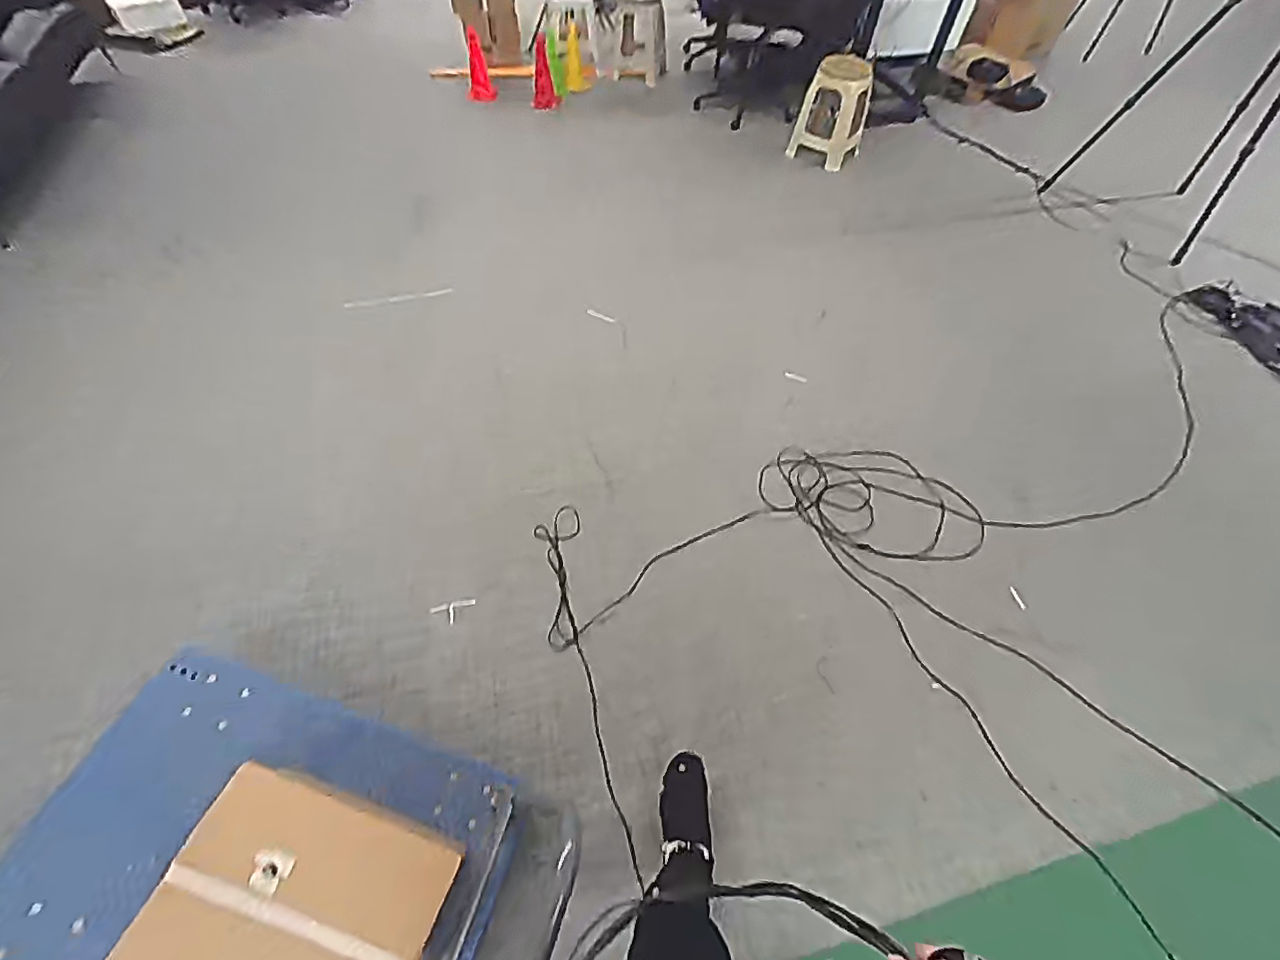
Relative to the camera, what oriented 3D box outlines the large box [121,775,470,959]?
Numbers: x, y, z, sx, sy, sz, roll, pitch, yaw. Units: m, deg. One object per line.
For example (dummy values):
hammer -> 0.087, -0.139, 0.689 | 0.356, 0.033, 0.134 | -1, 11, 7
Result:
large box -> -0.557, 0.761, 0.948 | 0.408, 0.320, 0.320 | 23, 55, 0
